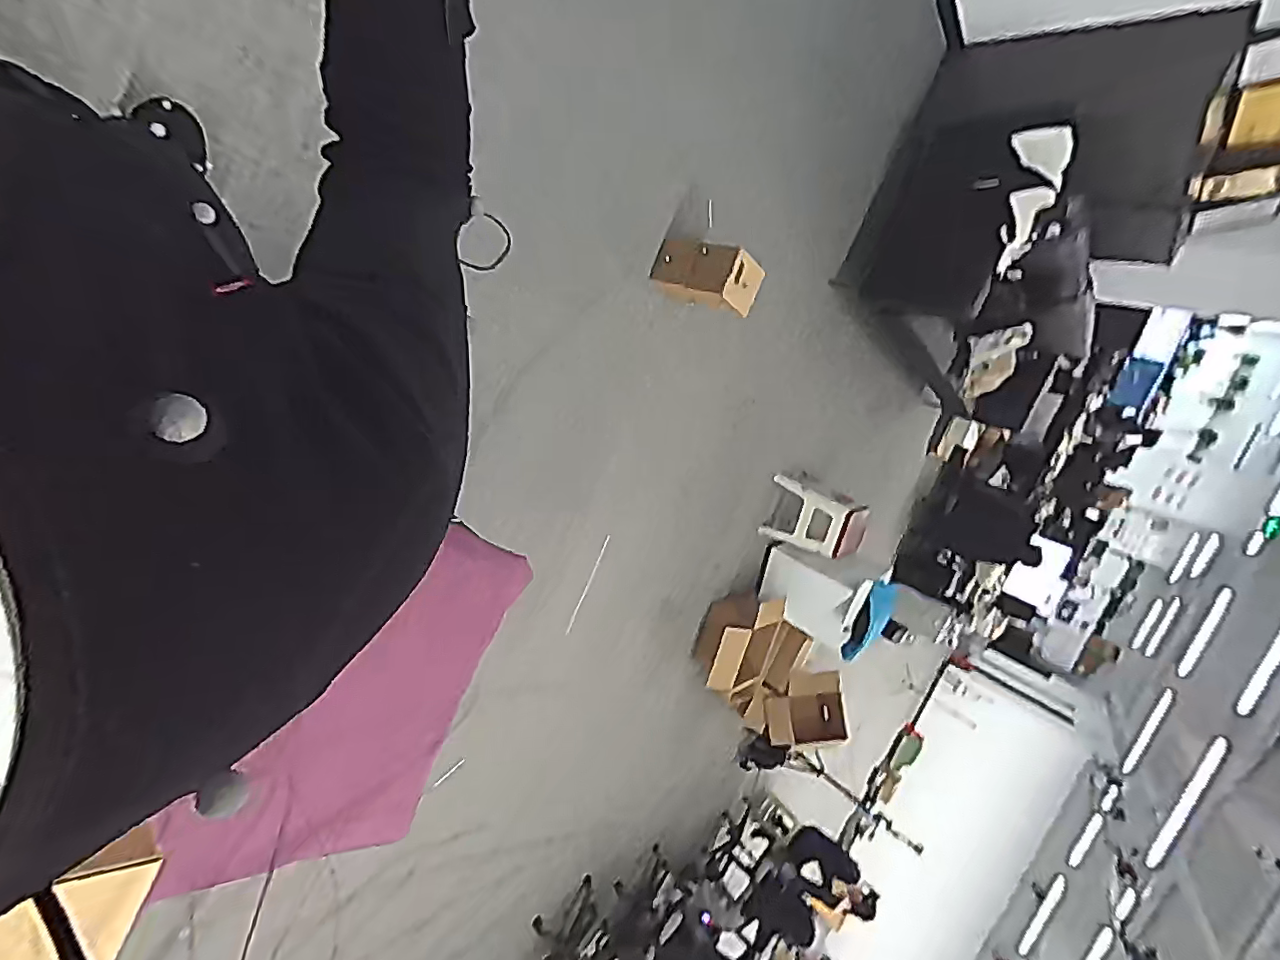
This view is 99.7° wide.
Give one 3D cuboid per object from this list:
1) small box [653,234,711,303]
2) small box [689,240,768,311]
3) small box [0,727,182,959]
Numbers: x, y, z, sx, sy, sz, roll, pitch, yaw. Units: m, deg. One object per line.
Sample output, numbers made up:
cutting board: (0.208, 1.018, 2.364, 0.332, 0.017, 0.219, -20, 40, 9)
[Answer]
small box: (0.182, -0.759, 1.932, 0.179, 0.176, 0.168, 18, 98, -49)
small box: (0.296, -0.696, 1.832, 0.179, 0.176, 0.168, 16, 100, -50)
small box: (-0.522, 0.326, 0.439, 0.179, 0.176, 0.168, 23, 95, -50)
